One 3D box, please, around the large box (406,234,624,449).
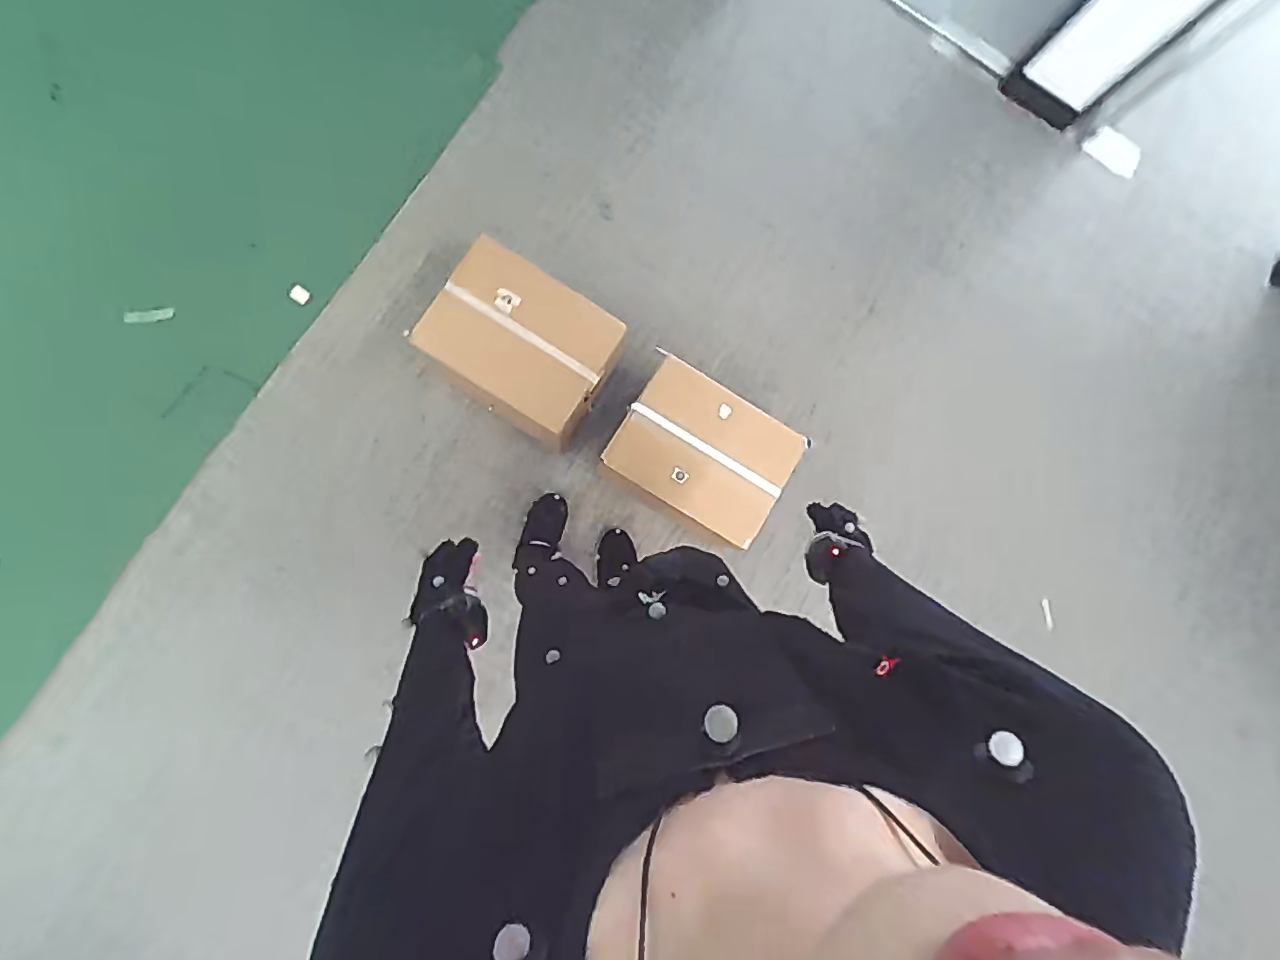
[{"bbox_3d":[-0.293,-0.325,1.384,0.408,0.320,0.320,33,81,-2],"label":"large box"}]
